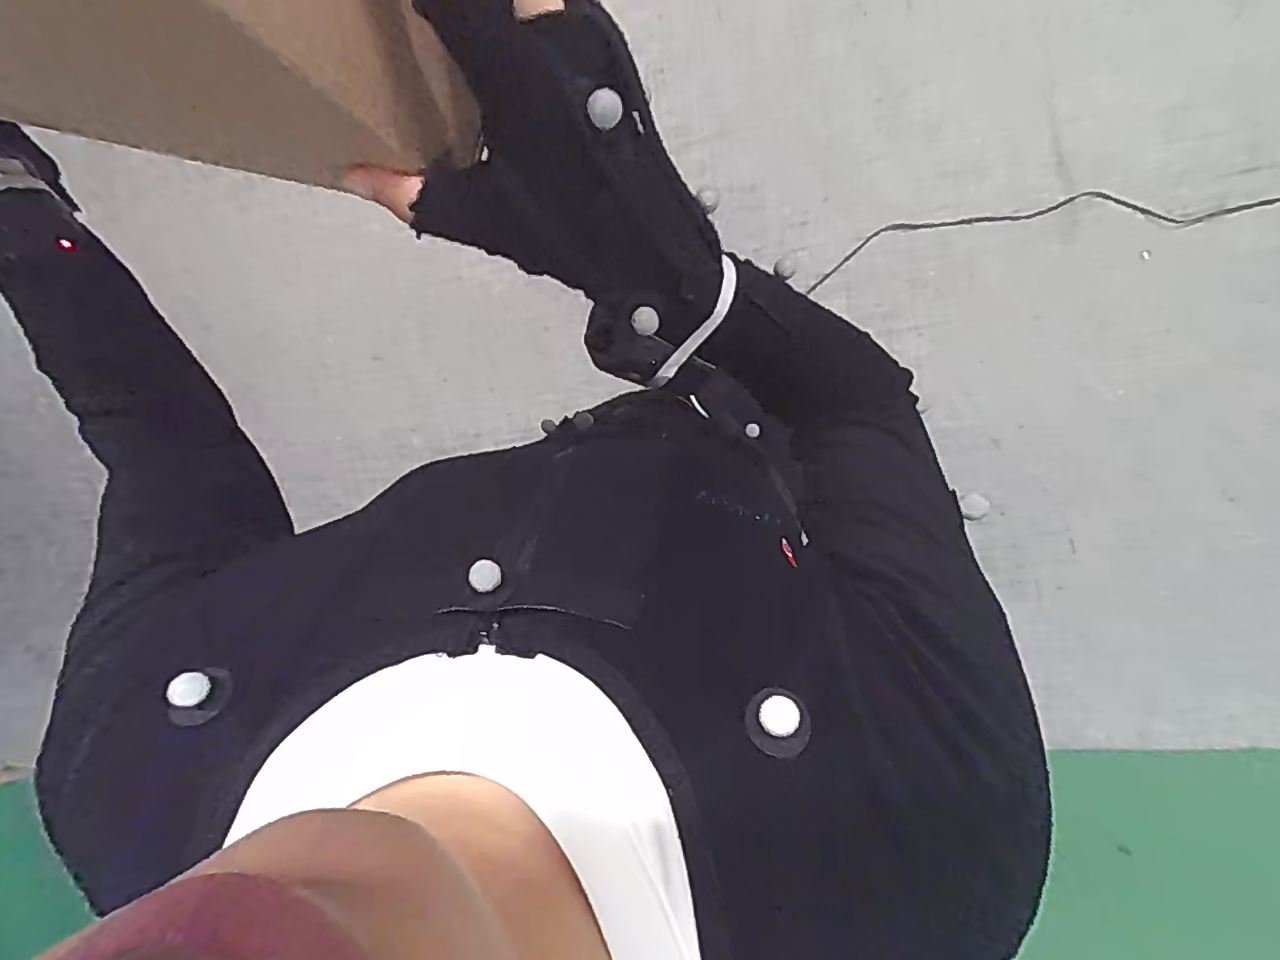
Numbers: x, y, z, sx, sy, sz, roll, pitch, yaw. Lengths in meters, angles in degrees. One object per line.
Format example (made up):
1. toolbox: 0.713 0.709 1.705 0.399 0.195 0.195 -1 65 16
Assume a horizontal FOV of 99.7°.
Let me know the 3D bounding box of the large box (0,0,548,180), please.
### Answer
1. large box: -0.245 -0.332 0.140 0.408 0.320 0.320 17 96 12
